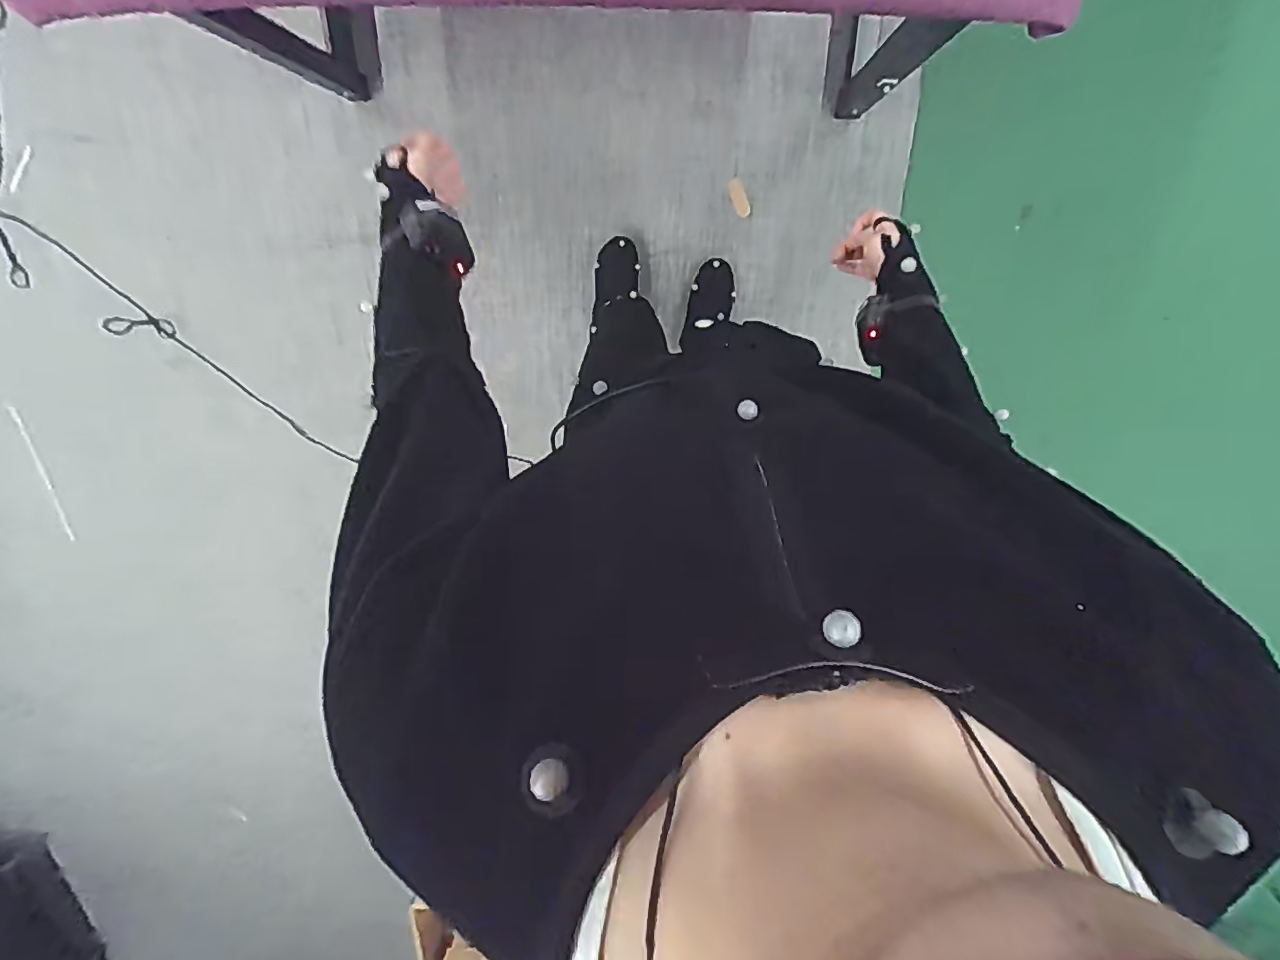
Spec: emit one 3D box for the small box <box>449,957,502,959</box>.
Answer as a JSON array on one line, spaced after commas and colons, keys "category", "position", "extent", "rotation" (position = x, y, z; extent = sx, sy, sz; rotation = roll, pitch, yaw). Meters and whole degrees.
[{"category": "small box", "position": [-0.460, 1.415, 1.440], "extent": [0.179, 0.176, 0.168], "rotation": [-5, 112, 4]}]
